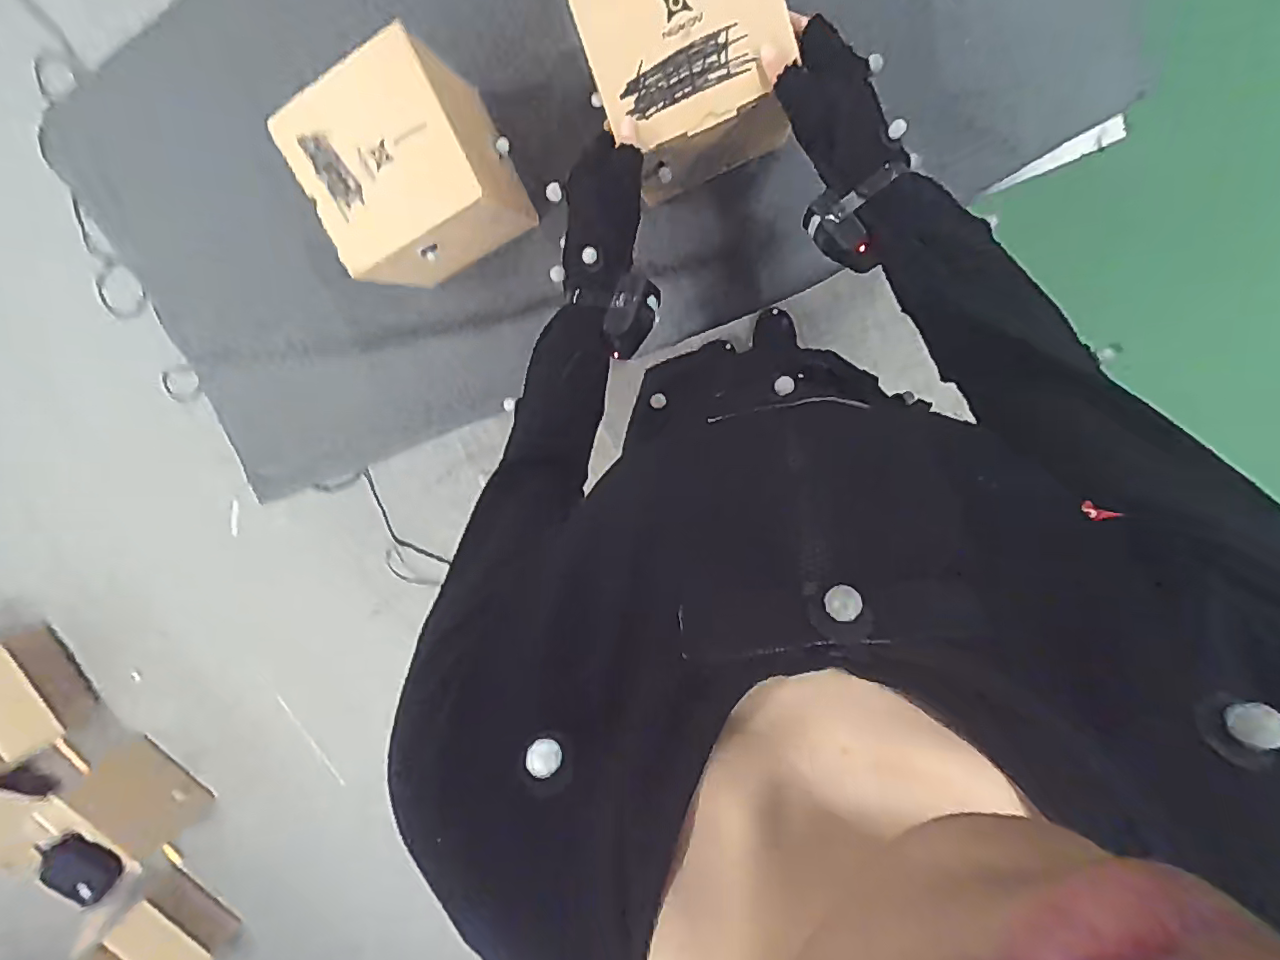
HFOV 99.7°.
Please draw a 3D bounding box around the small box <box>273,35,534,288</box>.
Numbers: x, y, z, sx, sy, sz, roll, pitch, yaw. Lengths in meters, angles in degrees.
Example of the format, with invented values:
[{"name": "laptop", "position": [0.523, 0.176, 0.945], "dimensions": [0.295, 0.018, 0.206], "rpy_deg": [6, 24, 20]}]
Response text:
[{"name": "small box", "position": [-0.251, -0.335, 0.617], "dimensions": [0.179, 0.176, 0.168], "rpy_deg": [-23, 101, 14]}]
